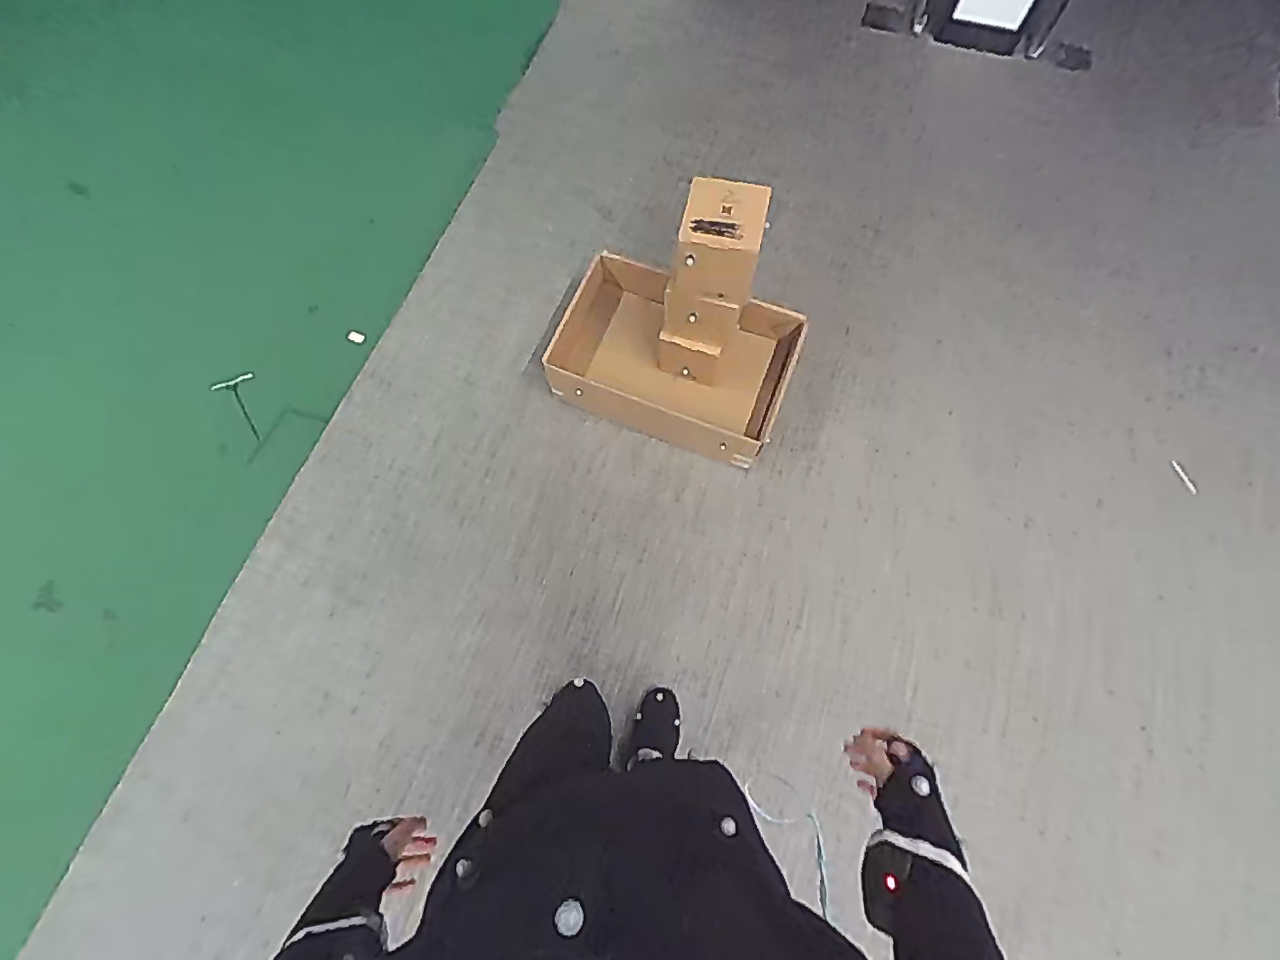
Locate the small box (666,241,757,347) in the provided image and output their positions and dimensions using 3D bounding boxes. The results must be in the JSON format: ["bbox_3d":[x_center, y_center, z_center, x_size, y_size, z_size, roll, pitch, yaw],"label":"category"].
[{"bbox_3d":[0.172,-0.449,1.326,0.179,0.176,0.168,16,73,9],"label":"small box"}]

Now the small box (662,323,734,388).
[{"bbox_3d":[0.167,-0.384,1.478,0.168,0.176,0.179,20,74,11],"label":"small box"}]
